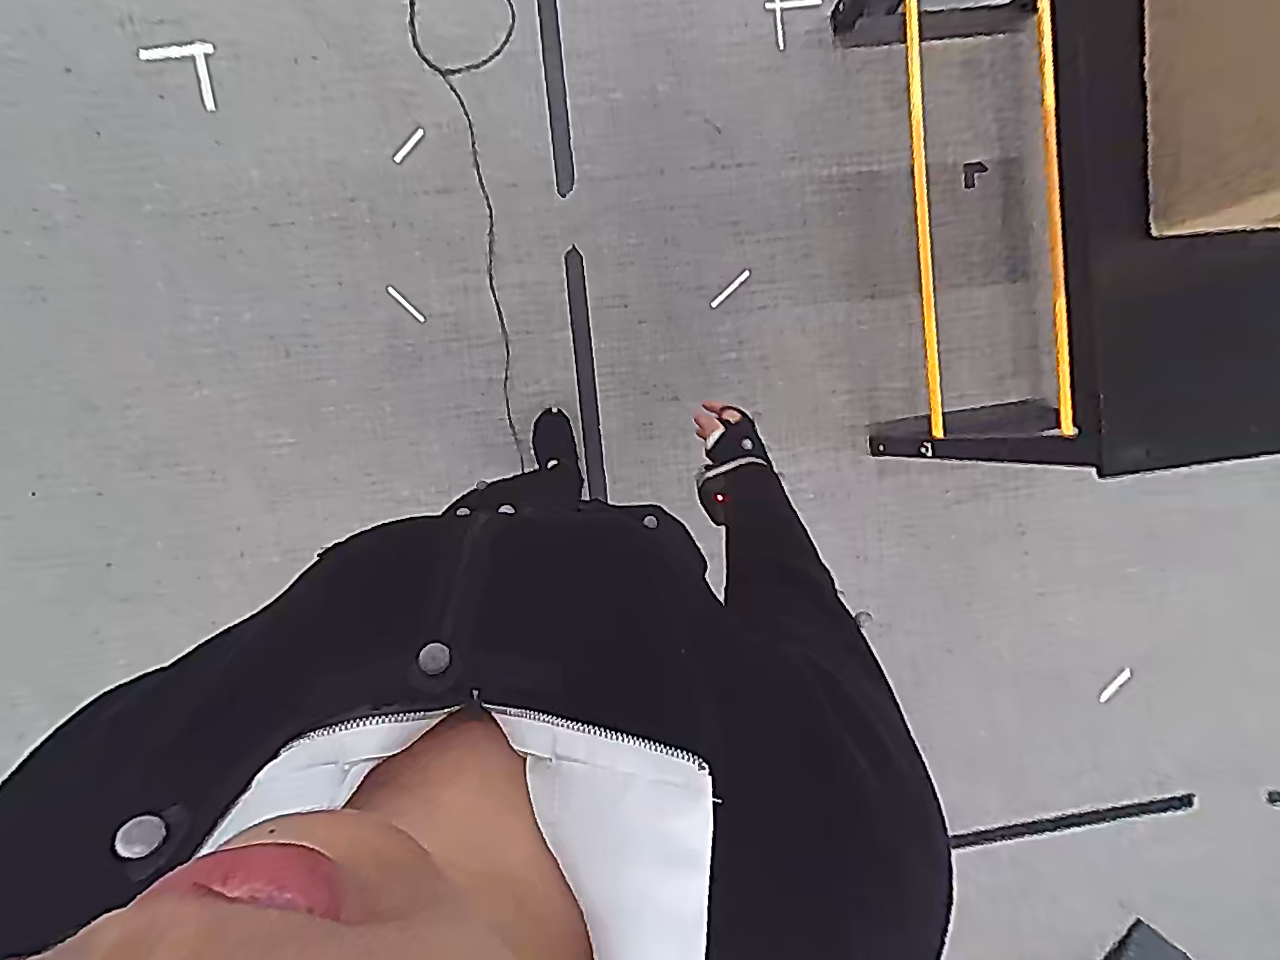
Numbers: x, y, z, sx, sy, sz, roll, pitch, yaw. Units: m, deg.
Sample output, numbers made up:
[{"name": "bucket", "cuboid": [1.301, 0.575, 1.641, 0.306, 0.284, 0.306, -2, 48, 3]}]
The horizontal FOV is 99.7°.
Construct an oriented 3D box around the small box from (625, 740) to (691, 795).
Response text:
[{"name": "small box", "cuboid": [0.059, 0.851, 1.475, 0.168, 0.176, 0.179, -14, 94, -4]}]
